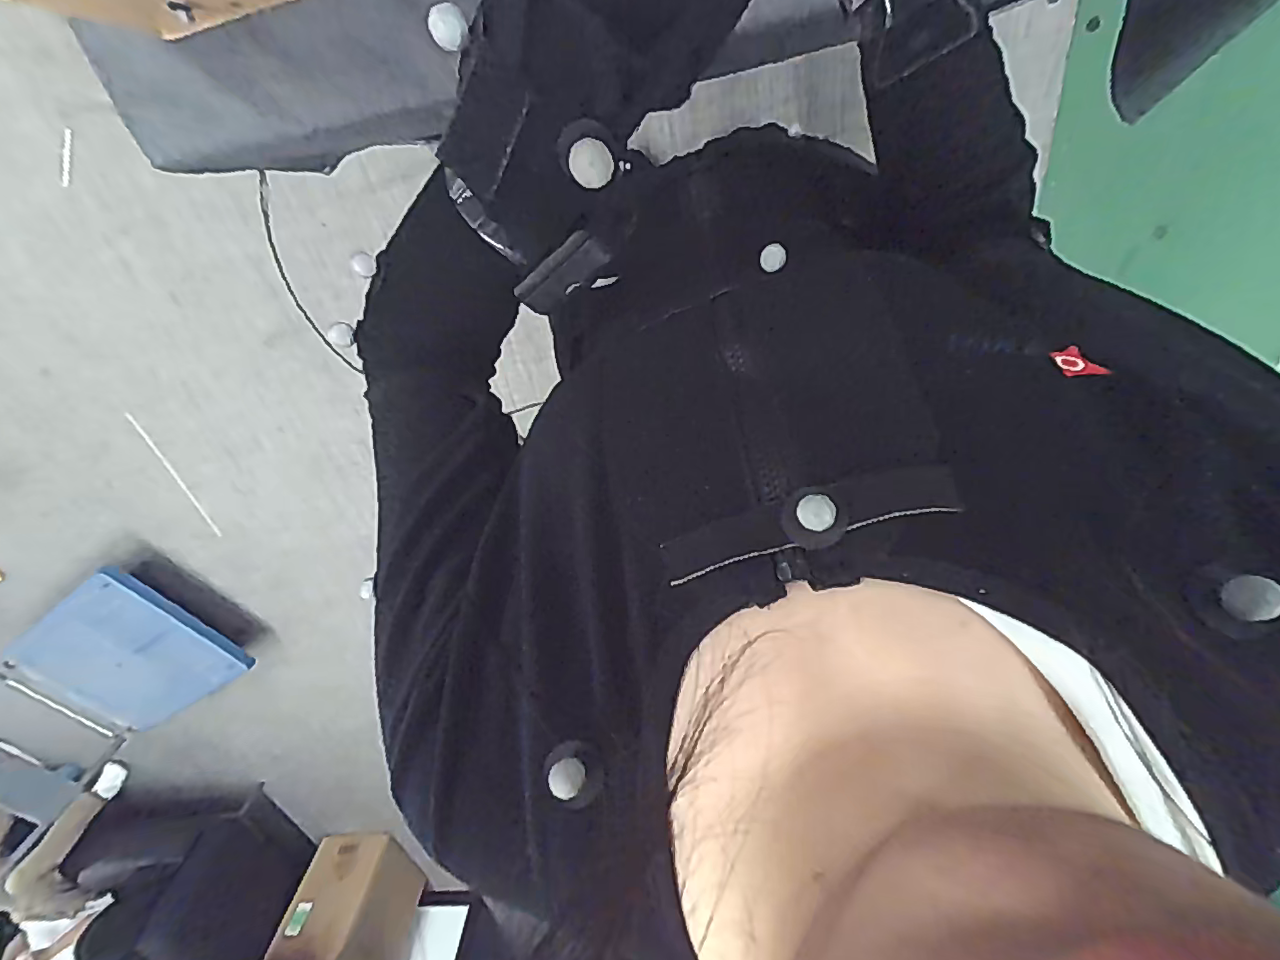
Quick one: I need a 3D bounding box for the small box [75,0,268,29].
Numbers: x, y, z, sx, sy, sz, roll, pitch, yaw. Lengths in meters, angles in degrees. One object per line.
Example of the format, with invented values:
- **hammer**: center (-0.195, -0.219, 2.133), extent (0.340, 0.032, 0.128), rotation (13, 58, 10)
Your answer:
- **small box**: center (-0.426, -0.496, 0.423), extent (0.168, 0.176, 0.179), rotation (-9, 121, 9)
